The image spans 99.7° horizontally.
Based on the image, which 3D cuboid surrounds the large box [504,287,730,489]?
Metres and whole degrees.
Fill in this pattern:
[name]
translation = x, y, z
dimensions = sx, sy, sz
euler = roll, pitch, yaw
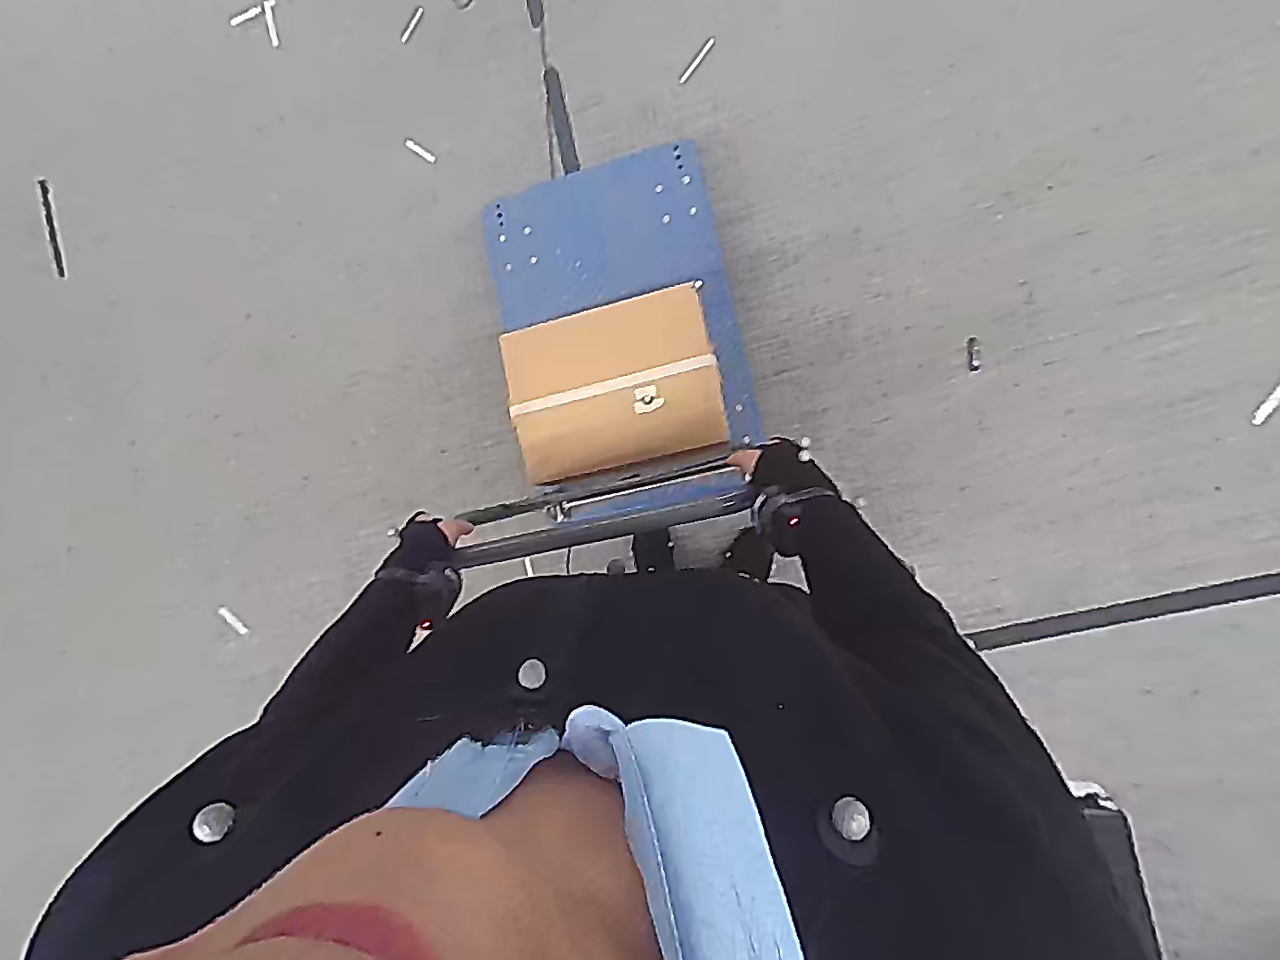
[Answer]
[large box]
translation = -0.032, -0.174, 1.201
dimensions = 0.408, 0.320, 0.320
euler = -13, 87, 8
